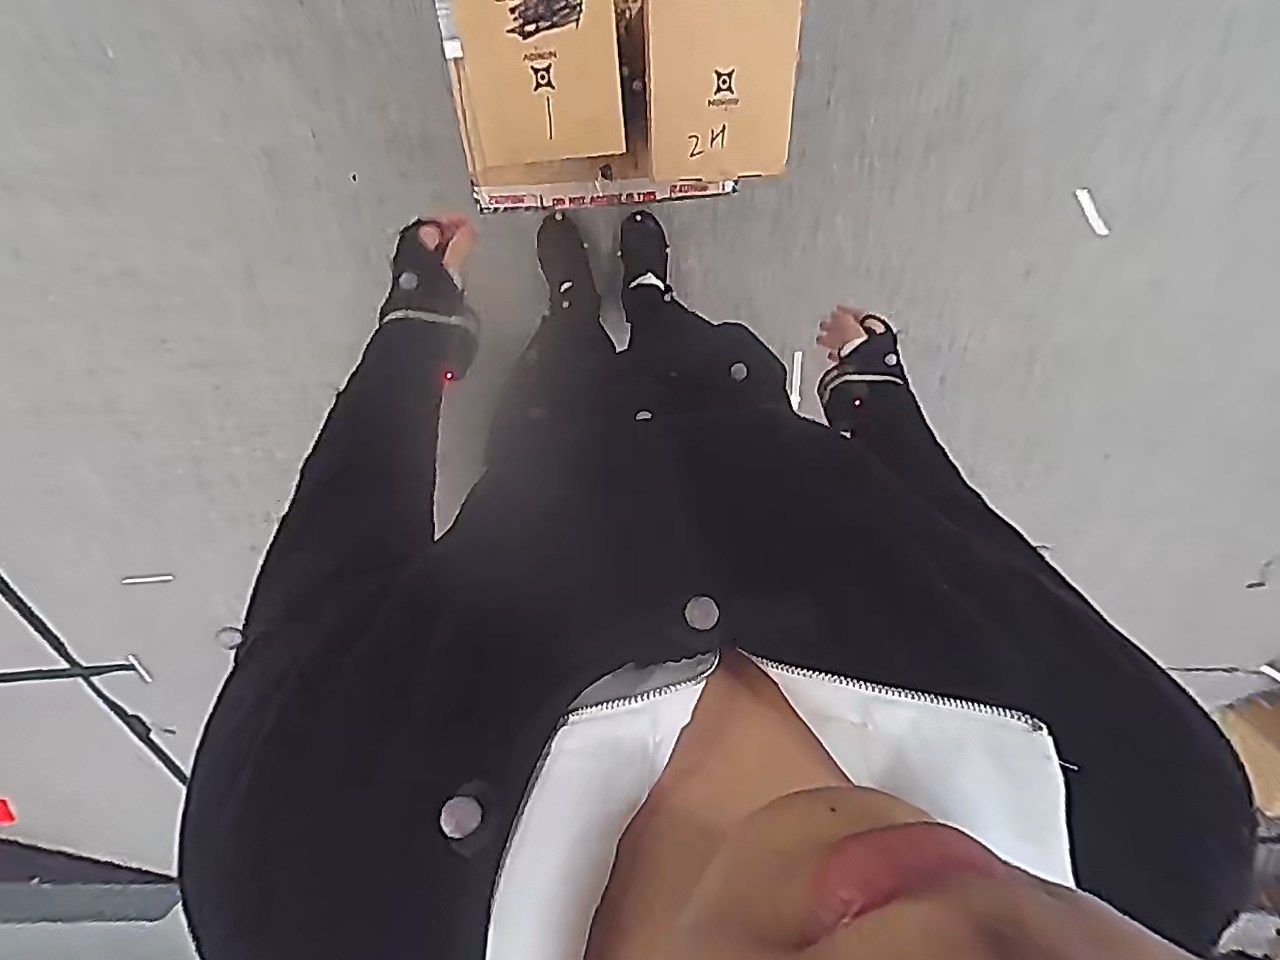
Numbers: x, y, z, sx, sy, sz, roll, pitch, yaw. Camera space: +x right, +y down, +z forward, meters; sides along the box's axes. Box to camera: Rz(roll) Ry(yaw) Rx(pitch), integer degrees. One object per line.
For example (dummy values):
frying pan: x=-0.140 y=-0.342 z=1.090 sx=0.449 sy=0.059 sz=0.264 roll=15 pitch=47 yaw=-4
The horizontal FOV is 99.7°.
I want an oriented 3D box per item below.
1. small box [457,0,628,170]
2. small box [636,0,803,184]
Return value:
small box: x=-0.106 y=-0.486 z=0.650 sx=0.168 sy=0.176 sz=0.179 roll=-6 pitch=125 yaw=0
small box: x=0.086 y=-0.478 z=0.674 sx=0.168 sy=0.176 sz=0.179 roll=-6 pitch=124 yaw=-3
